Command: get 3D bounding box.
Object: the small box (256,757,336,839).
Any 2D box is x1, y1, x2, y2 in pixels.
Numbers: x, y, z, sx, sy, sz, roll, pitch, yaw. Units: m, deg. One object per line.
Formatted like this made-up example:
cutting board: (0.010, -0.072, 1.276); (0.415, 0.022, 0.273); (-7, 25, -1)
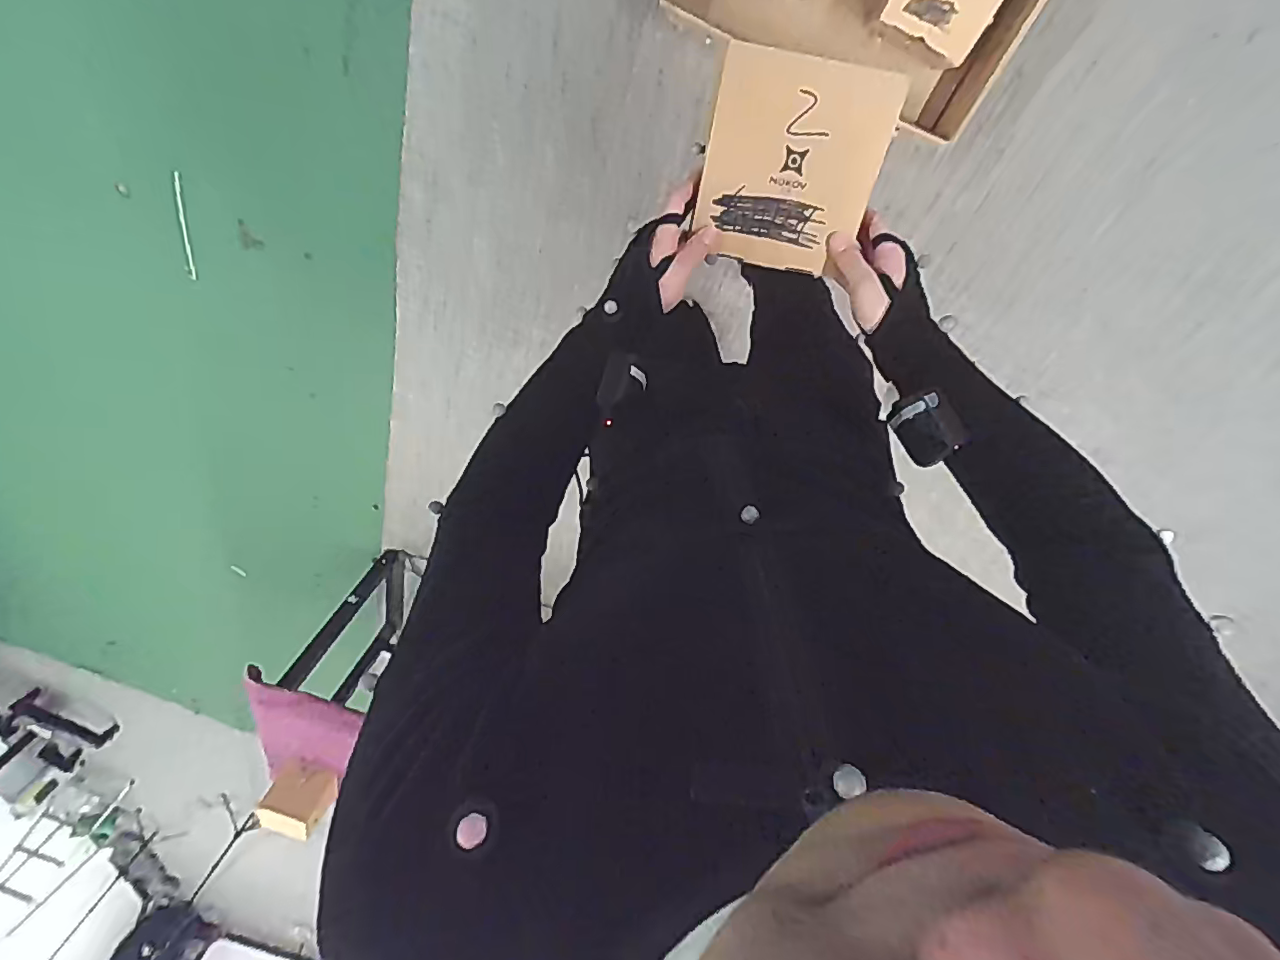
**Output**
small box: (-1.166, 1.084, 1.846); (0.168, 0.176, 0.179); (21, 126, -4)
